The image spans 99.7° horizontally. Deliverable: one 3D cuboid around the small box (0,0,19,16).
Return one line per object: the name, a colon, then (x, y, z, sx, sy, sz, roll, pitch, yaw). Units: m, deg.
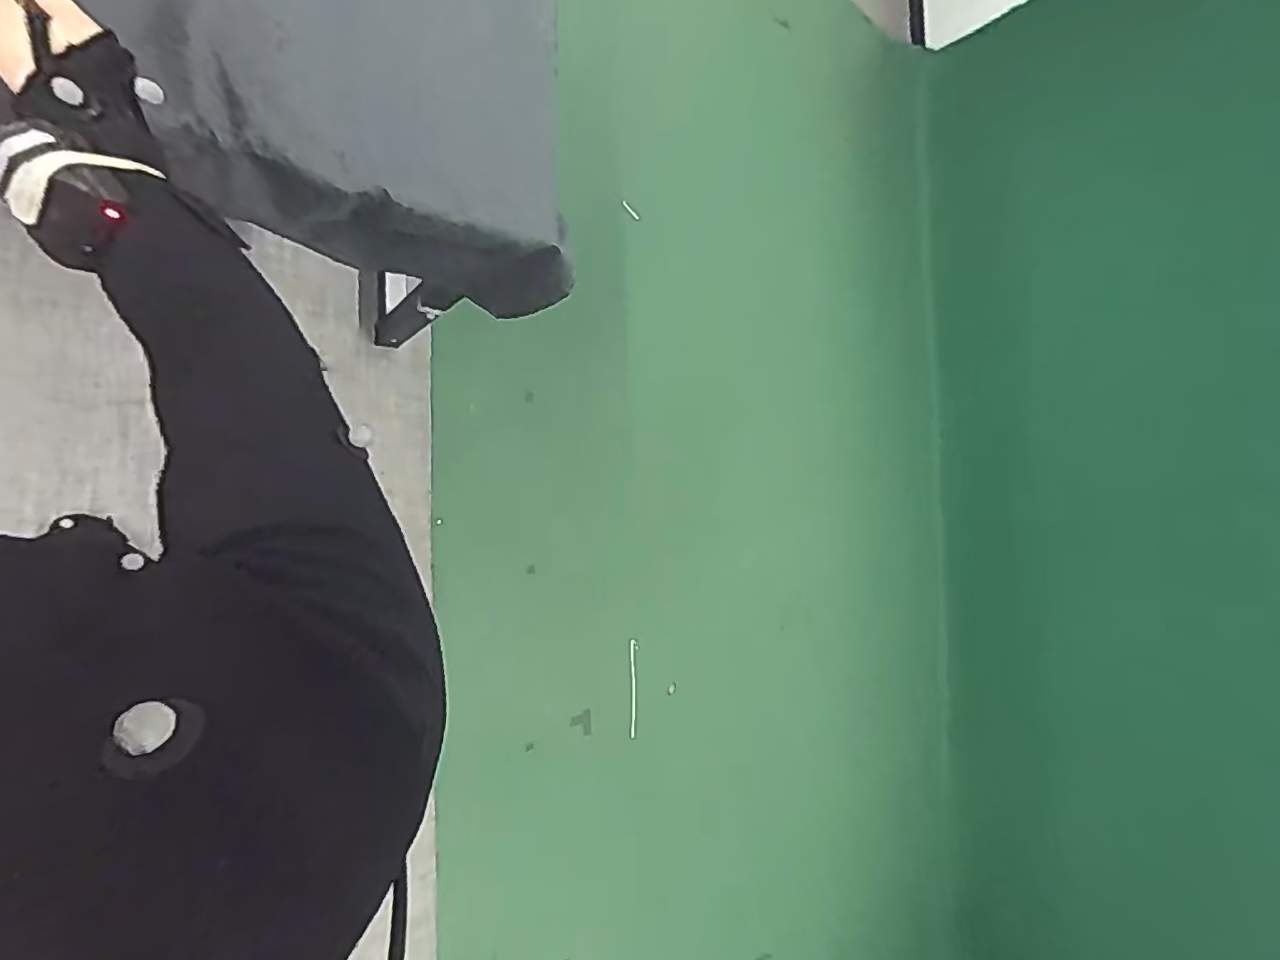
small box: (-0.487, -0.417, 0.313, 0.179, 0.176, 0.168, 2, 109, -48)
